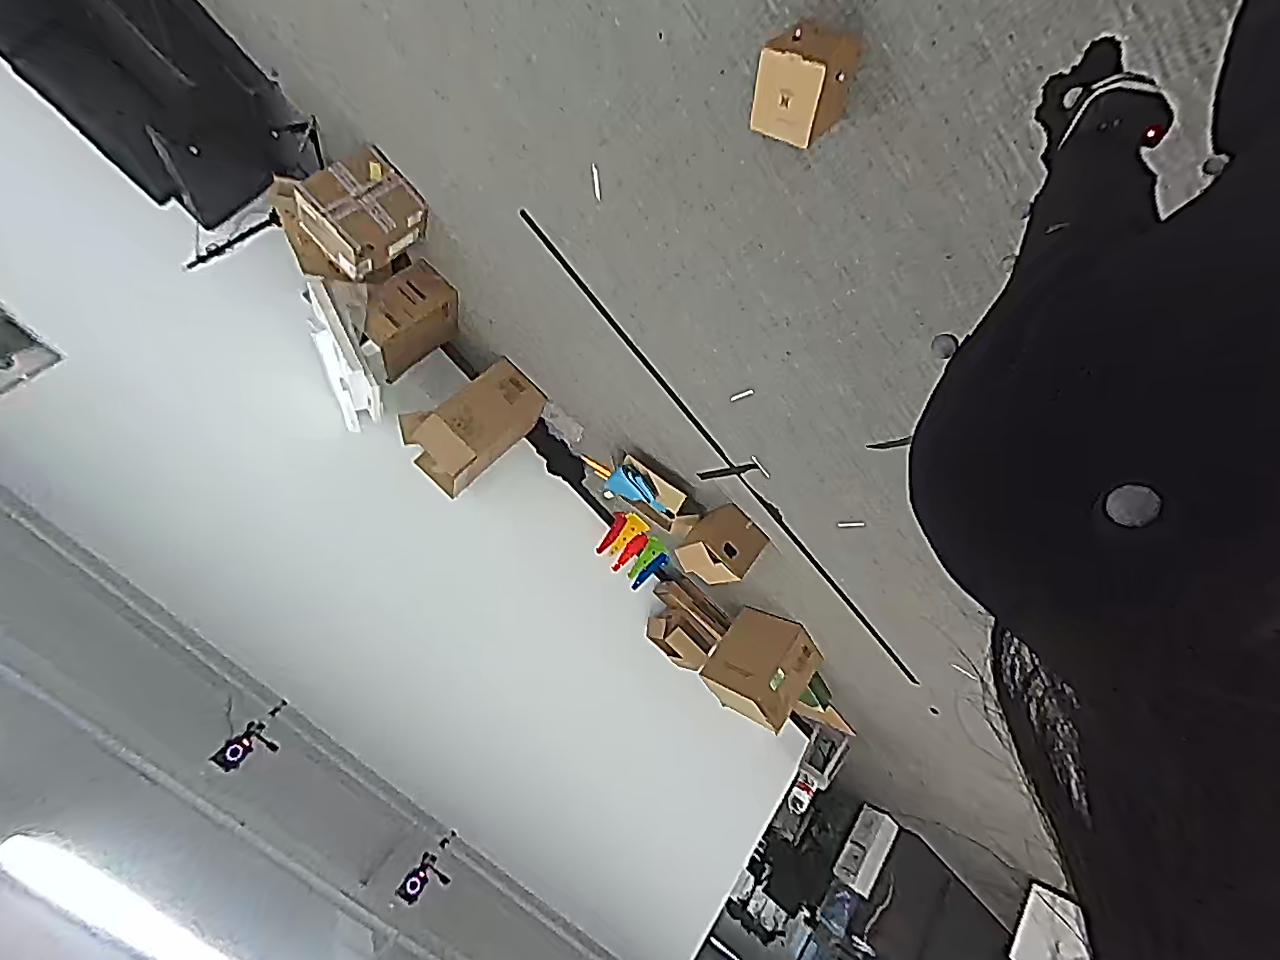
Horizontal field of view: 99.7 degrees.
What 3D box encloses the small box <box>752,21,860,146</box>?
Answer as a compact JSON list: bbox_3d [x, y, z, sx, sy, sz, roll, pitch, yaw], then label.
[{"bbox_3d":[0.388,-0.932,1.267,0.168,0.176,0.179,34,156,20],"label":"small box"}]
